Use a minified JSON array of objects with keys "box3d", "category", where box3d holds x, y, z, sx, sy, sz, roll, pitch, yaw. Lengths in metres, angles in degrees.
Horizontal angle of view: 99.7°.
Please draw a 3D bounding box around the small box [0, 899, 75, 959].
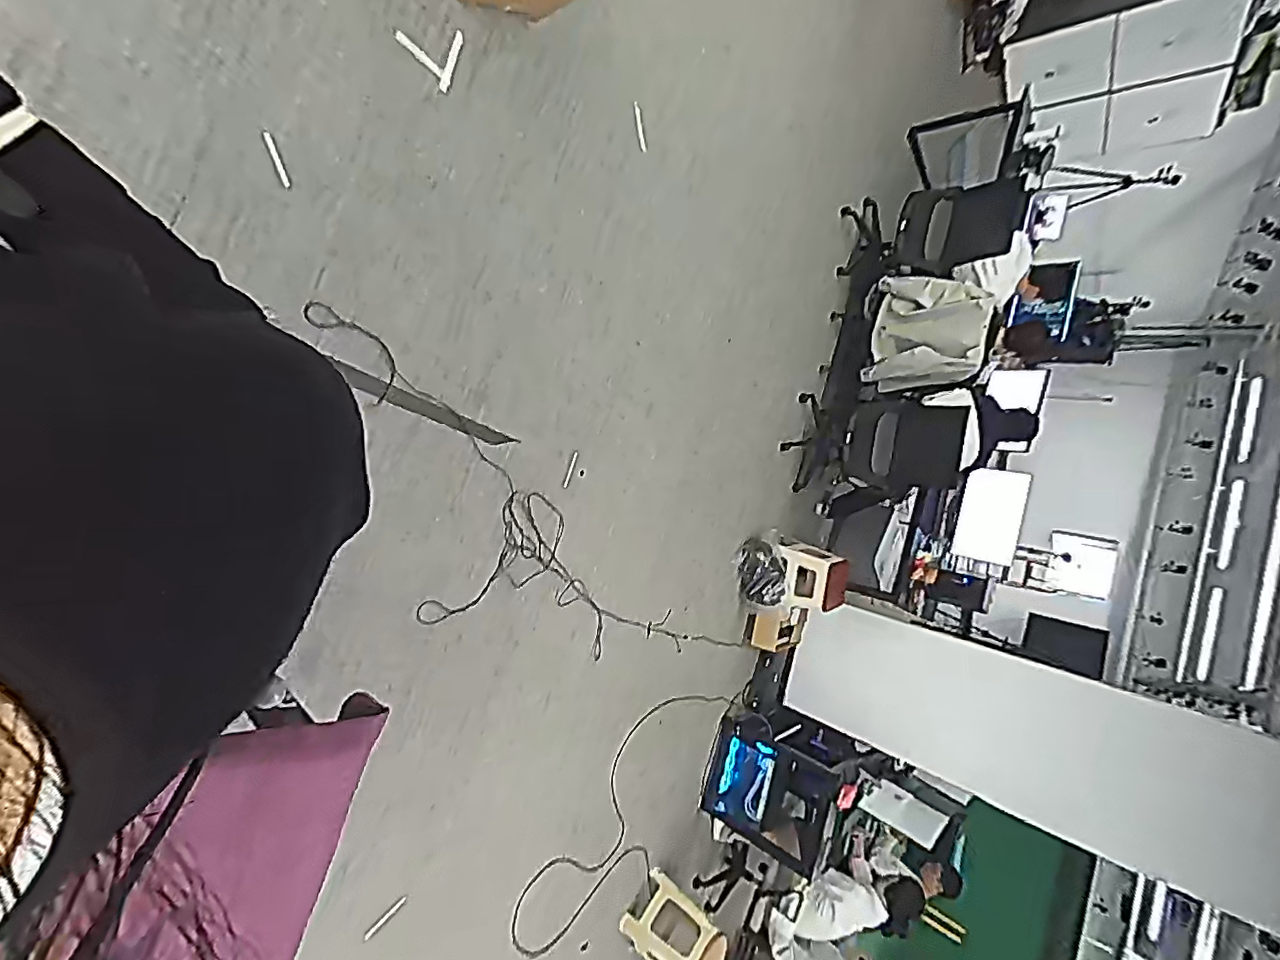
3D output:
[{"box3d":[-0.661,0.531,0.491,0.168,0.176,0.179,23,83,-50],"category":"small box"}]
